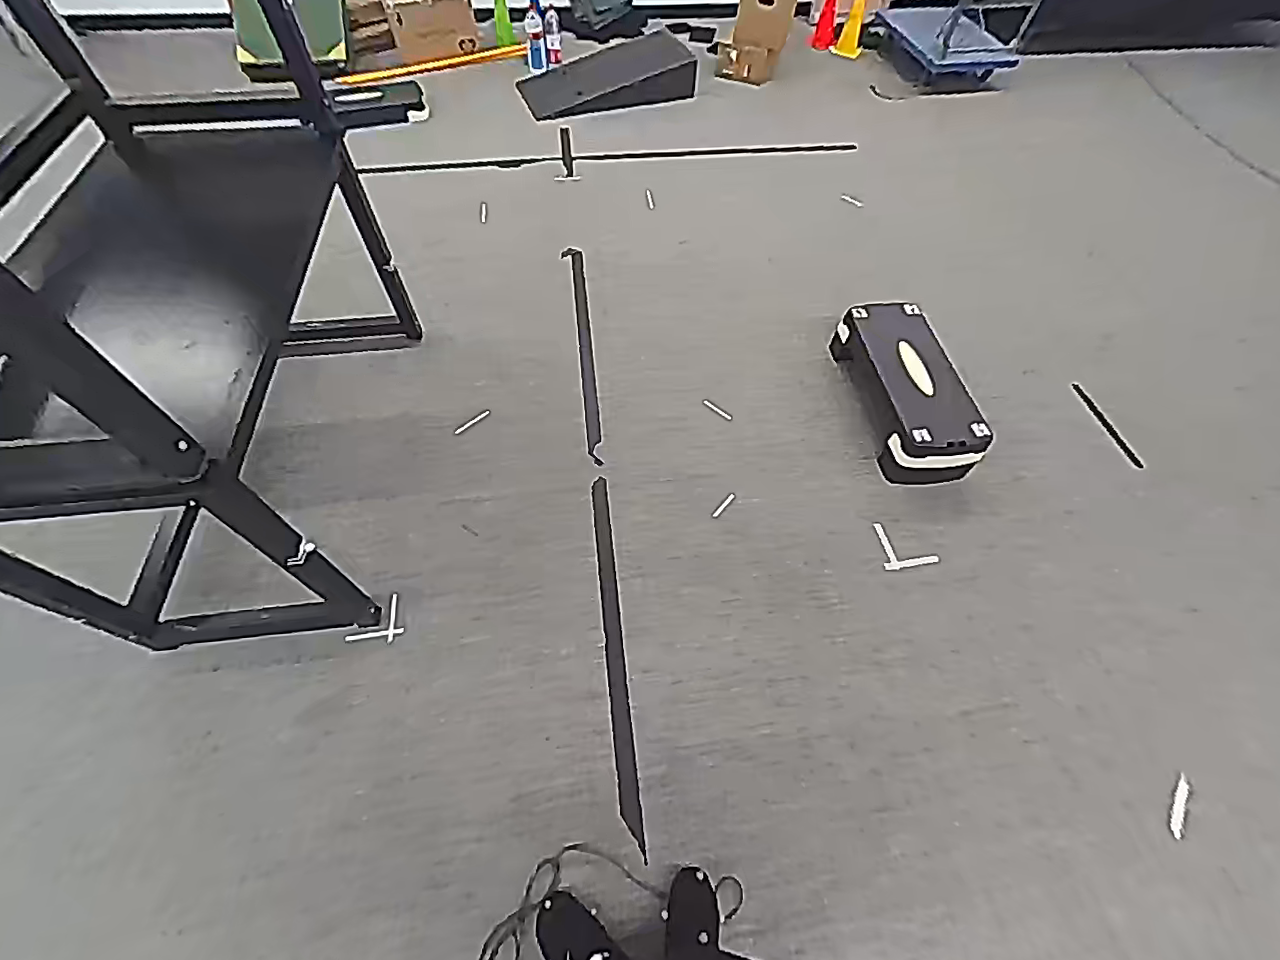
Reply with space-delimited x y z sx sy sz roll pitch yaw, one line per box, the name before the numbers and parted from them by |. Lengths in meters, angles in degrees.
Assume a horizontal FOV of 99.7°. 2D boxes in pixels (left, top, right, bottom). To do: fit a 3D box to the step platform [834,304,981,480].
step platform | 0.913 -0.334 1.899 0.286 0.204 0.684 -1 56 -2
